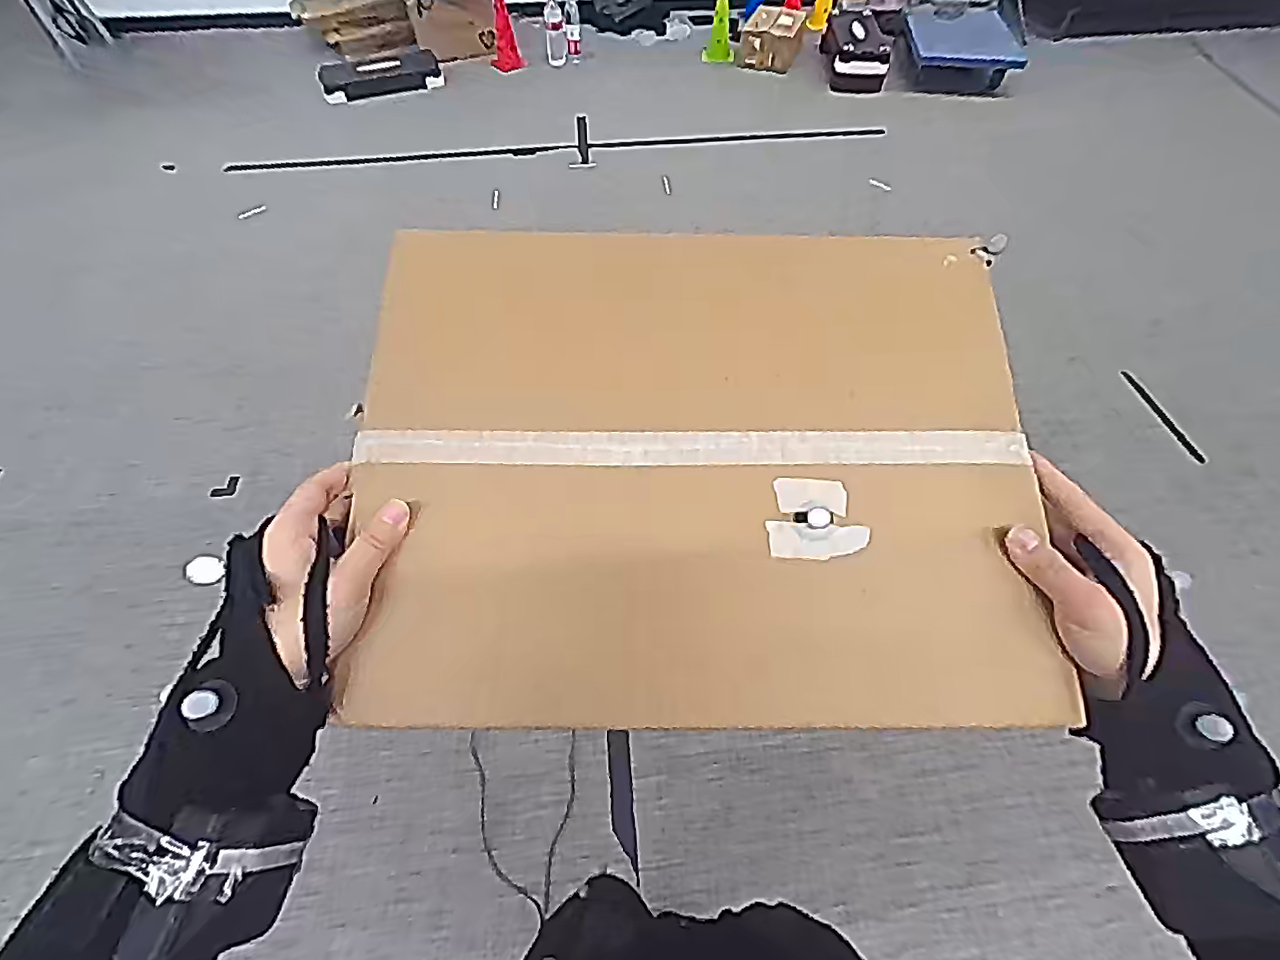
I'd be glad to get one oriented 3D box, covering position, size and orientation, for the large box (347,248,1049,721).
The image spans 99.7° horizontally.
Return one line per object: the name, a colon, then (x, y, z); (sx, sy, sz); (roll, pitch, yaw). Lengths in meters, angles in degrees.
large box: (0.029, 0.024, 0.485); (0.408, 0.320, 0.320); (0, 74, -1)
